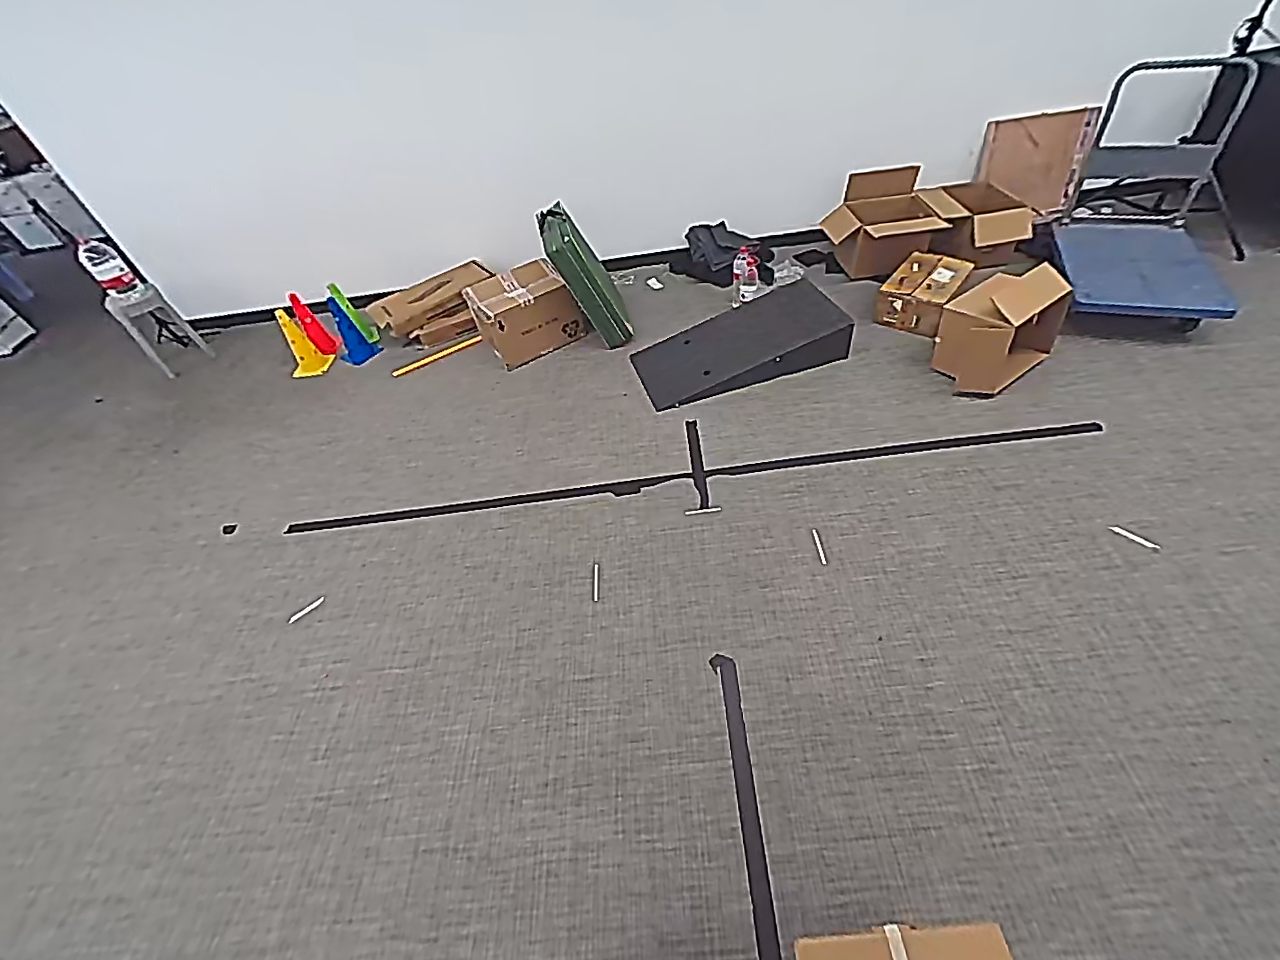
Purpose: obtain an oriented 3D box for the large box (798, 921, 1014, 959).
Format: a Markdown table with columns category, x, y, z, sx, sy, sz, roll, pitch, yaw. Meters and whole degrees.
| category | x | y | z | sx | sy | sz | roll | pitch | yaw |
| --- | --- | --- | --- | --- | --- | --- | --- | --- | --- |
| large box | 0.446 | 0.946 | 0.820 | 0.320 | 0.320 | 0.408 | -12 | 47 | 8 |
